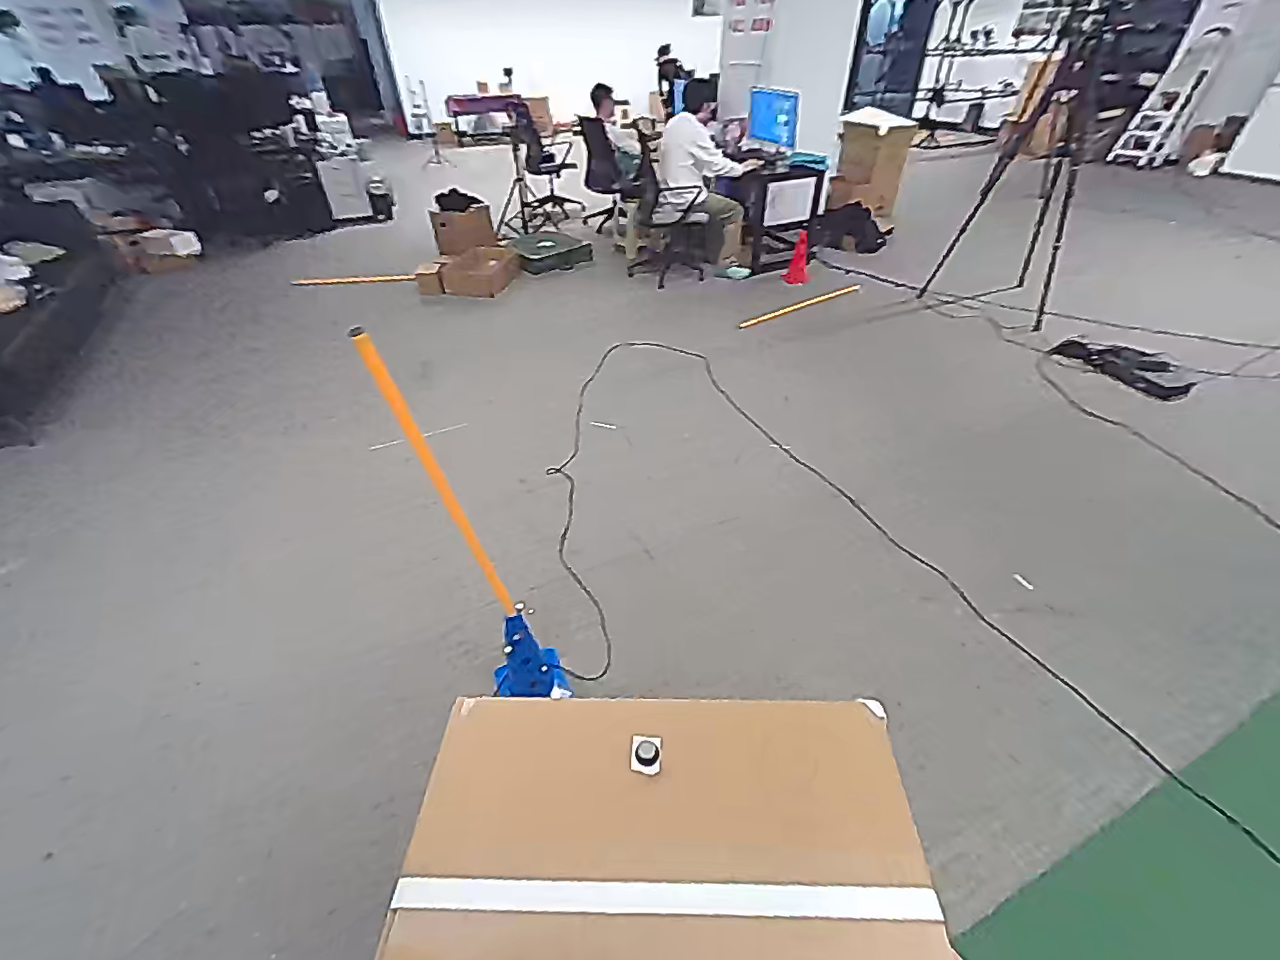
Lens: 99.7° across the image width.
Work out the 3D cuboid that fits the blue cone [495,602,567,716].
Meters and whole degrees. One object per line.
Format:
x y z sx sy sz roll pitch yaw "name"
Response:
-0.336 0.483 1.536 0.193 0.380 0.192 -20 43 -19 "blue cone"
